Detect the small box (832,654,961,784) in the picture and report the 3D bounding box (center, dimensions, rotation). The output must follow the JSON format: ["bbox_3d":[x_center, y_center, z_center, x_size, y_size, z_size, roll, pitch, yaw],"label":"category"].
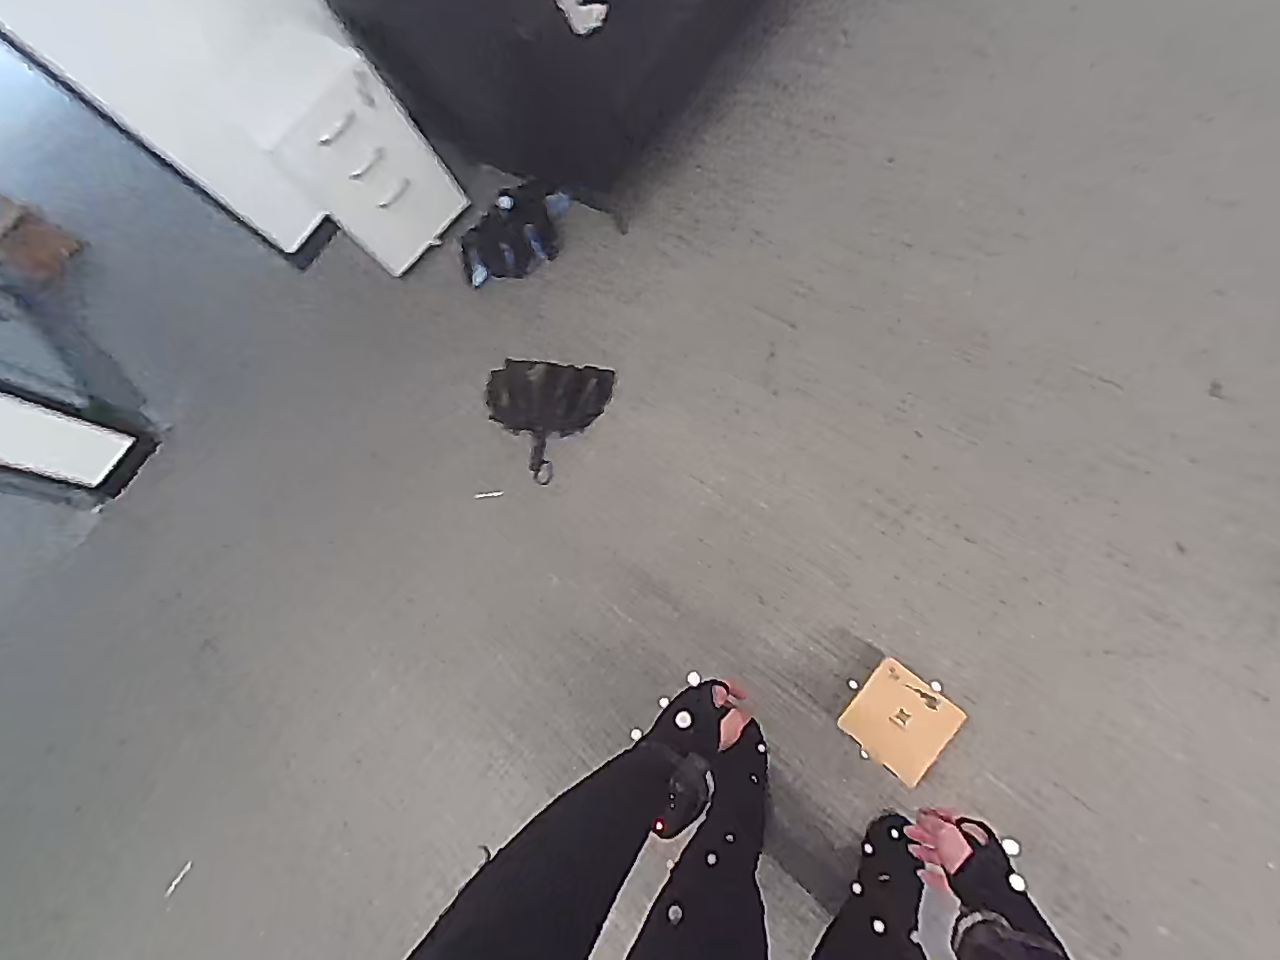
[{"bbox_3d":[0.521,0.484,1.118,0.168,0.176,0.179,38,86,26],"label":"small box"}]
